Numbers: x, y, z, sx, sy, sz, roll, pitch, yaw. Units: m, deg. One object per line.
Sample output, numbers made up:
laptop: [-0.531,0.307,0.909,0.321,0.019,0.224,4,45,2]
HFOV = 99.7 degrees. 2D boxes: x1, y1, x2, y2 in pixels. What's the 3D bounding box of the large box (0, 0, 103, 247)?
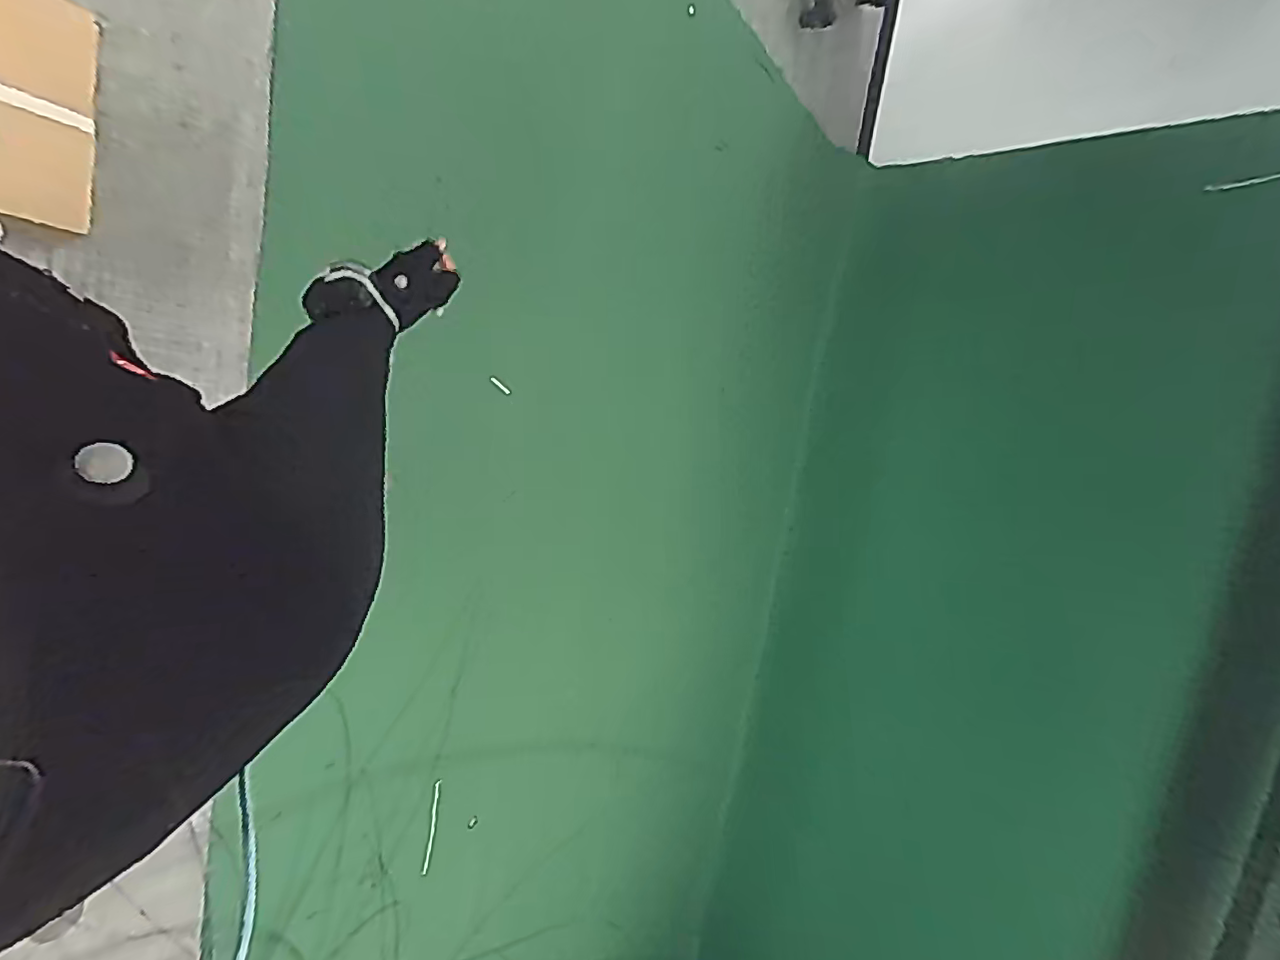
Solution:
large box: [-1.052,-0.555,0.745,0.408,0.320,0.320,2,100,-52]
